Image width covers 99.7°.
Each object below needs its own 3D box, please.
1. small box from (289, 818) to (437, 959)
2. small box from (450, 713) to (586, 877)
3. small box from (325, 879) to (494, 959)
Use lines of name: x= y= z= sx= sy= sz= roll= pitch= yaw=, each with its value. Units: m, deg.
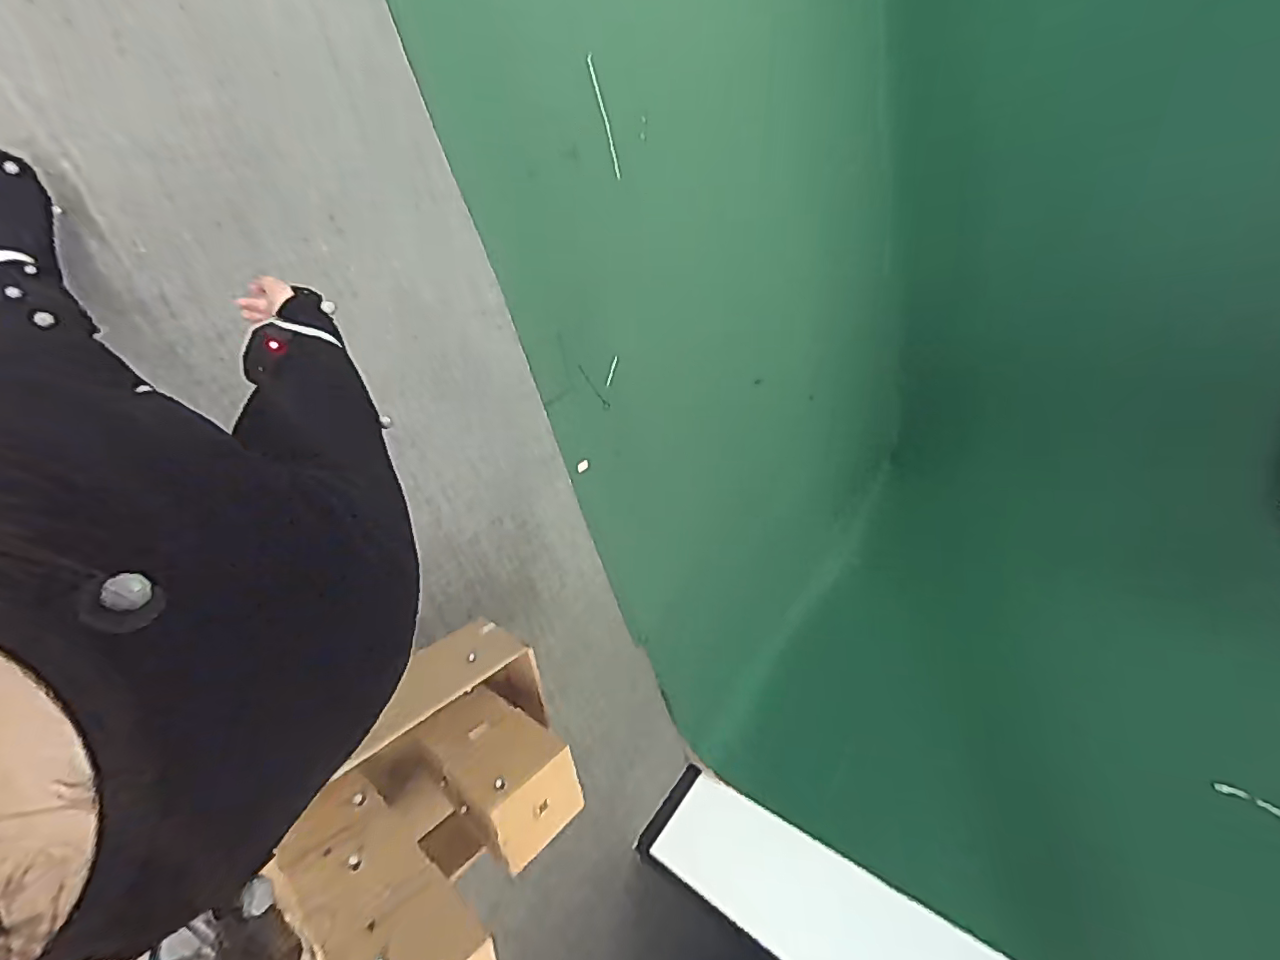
small box: x=-0.427 y=0.677 z=0.854 sx=0.168 sy=0.176 sz=0.179 roll=-19 pitch=111 yaw=-42
small box: x=-0.234 y=0.591 z=1.041 sx=0.179 sy=0.176 sz=0.168 roll=-27 pitch=117 yaw=-38
small box: x=-0.310 y=0.701 z=0.742 sx=0.168 sy=0.176 sz=0.179 roll=-17 pitch=111 yaw=-43
